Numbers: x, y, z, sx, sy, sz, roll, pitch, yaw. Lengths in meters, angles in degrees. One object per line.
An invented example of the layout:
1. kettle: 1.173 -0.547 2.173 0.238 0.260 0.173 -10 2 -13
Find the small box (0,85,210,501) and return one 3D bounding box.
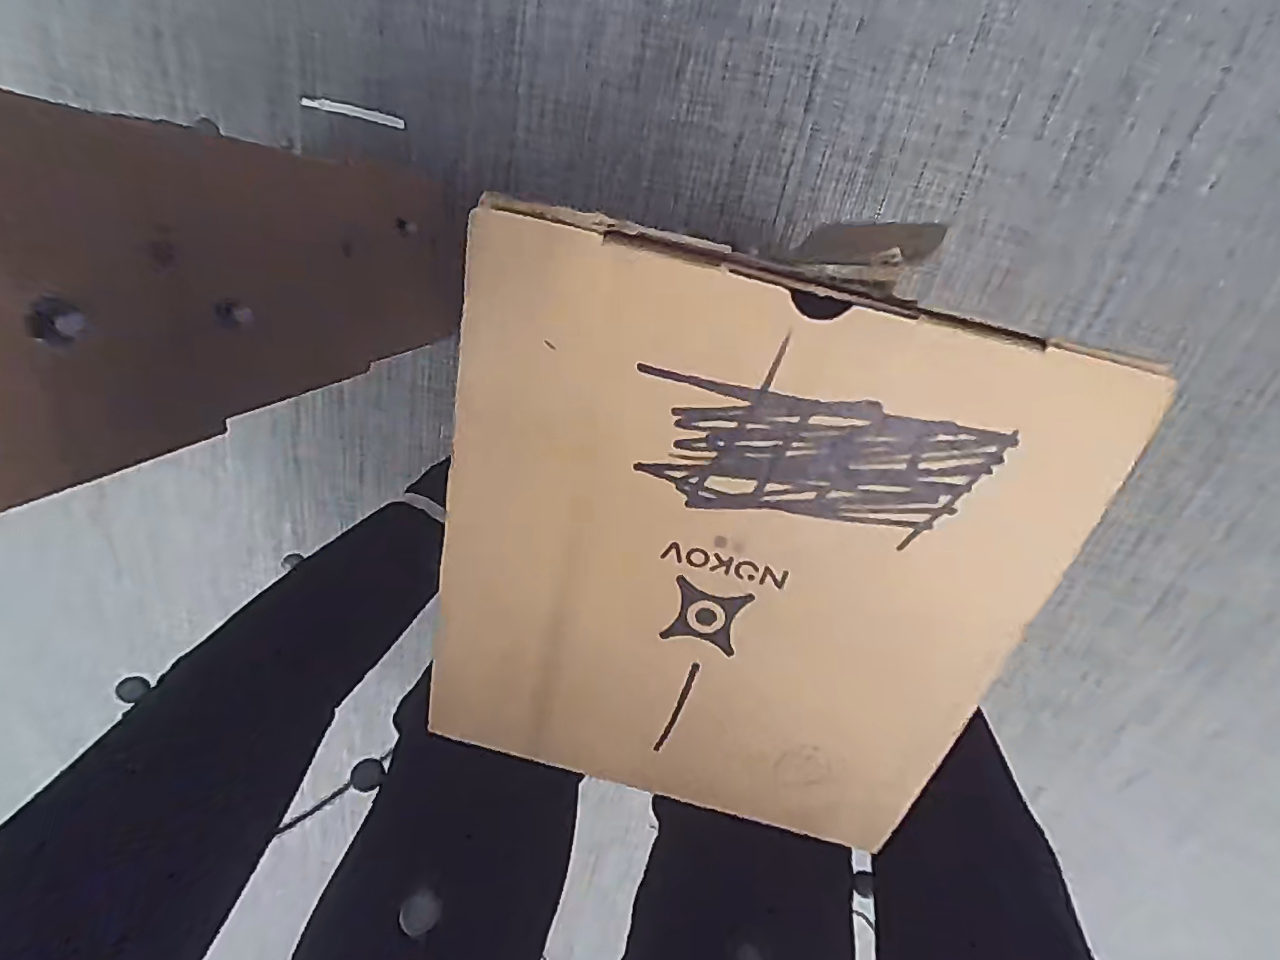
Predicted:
1. small box: -0.340 -0.094 0.244 0.179 0.176 0.168 10 112 4

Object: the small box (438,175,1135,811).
1. small box: 0.033 -0.007 0.237 0.168 0.176 0.179 14 113 2

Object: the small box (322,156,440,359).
1. small box: -0.316 -0.230 0.544 0.179 0.176 0.168 9 113 4

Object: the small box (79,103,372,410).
1. small box: -0.329 -0.161 0.396 0.179 0.176 0.168 9 113 3
